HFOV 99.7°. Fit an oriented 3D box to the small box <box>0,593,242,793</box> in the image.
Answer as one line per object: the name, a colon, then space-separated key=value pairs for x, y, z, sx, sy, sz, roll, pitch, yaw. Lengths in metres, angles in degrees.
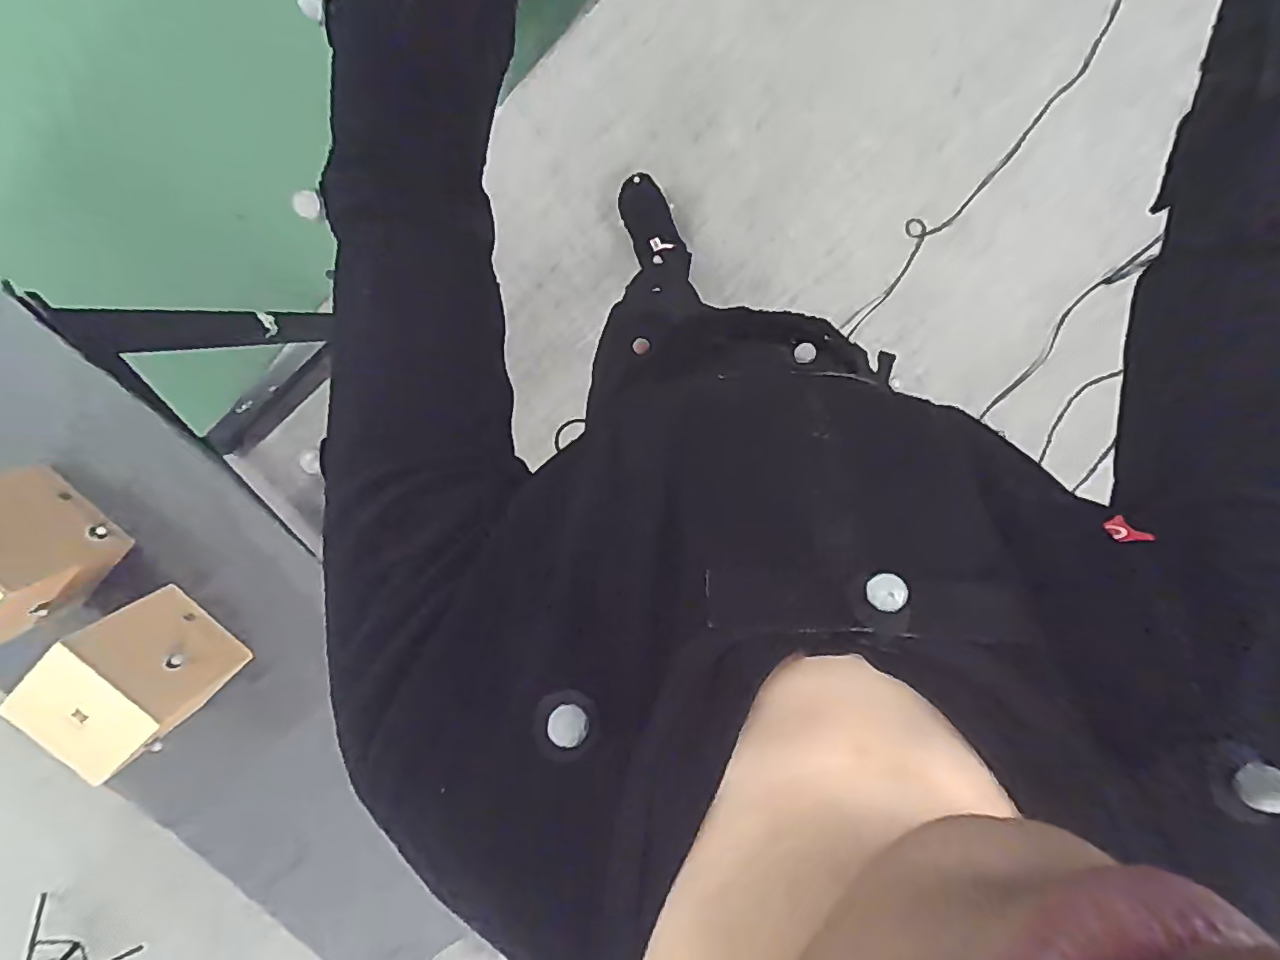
small box: x=-0.736 y=0.299 z=0.787 sx=0.179 sy=0.176 sz=0.168 roll=-40 pitch=99 yaw=15

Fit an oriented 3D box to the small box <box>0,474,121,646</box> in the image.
small box: x=-0.888 y=0.117 z=0.746 sx=0.179 sy=0.176 sz=0.168 roll=-40 pitch=99 yaw=15
